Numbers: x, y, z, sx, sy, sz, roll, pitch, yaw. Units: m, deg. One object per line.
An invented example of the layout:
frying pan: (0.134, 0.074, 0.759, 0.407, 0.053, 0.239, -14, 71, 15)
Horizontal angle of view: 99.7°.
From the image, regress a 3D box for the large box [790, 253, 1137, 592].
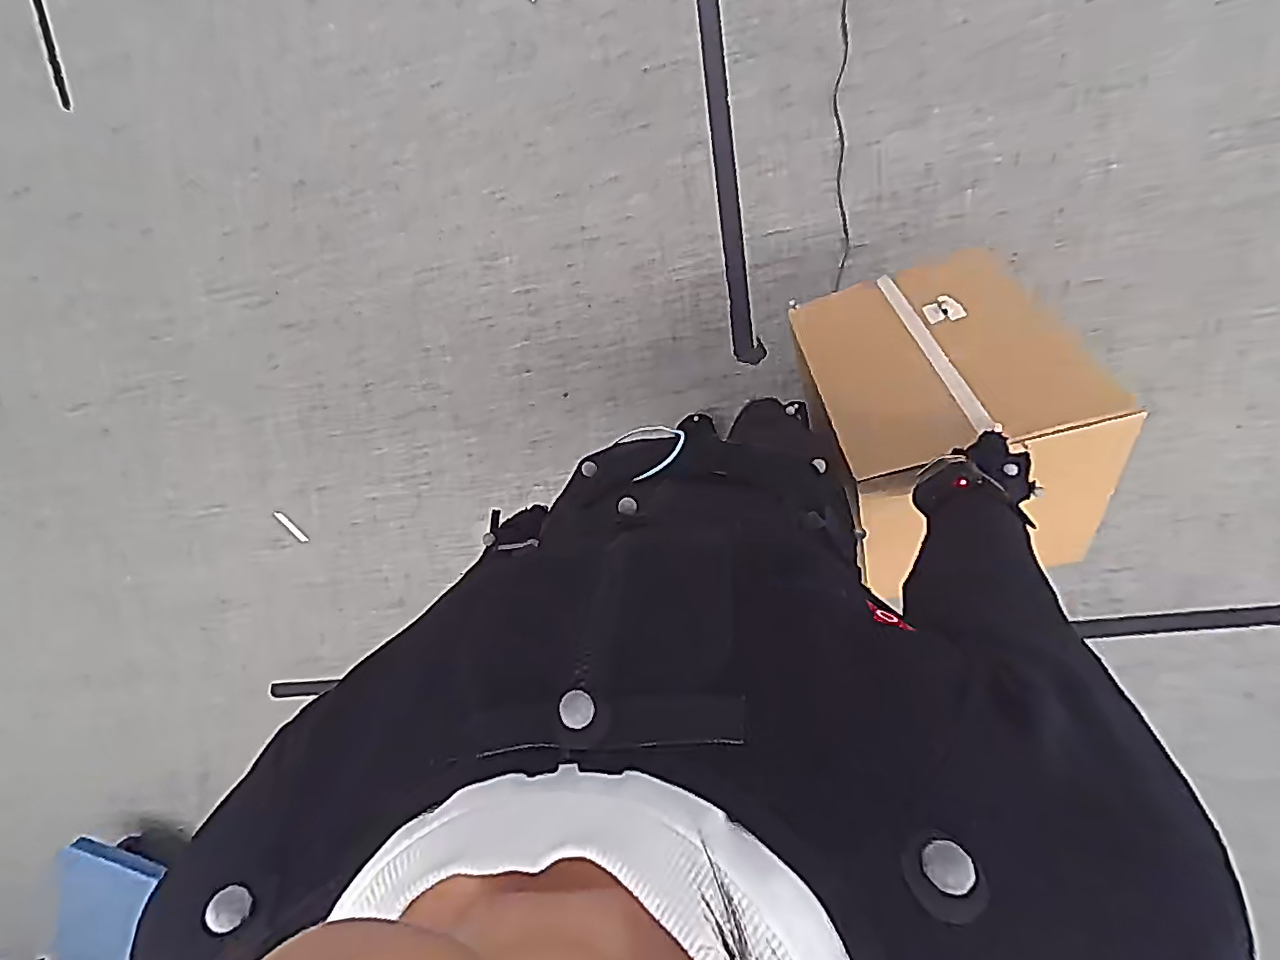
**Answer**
large box: (0.465, -0.090, 0.878, 0.320, 0.408, 0.320, -15, 136, 13)
